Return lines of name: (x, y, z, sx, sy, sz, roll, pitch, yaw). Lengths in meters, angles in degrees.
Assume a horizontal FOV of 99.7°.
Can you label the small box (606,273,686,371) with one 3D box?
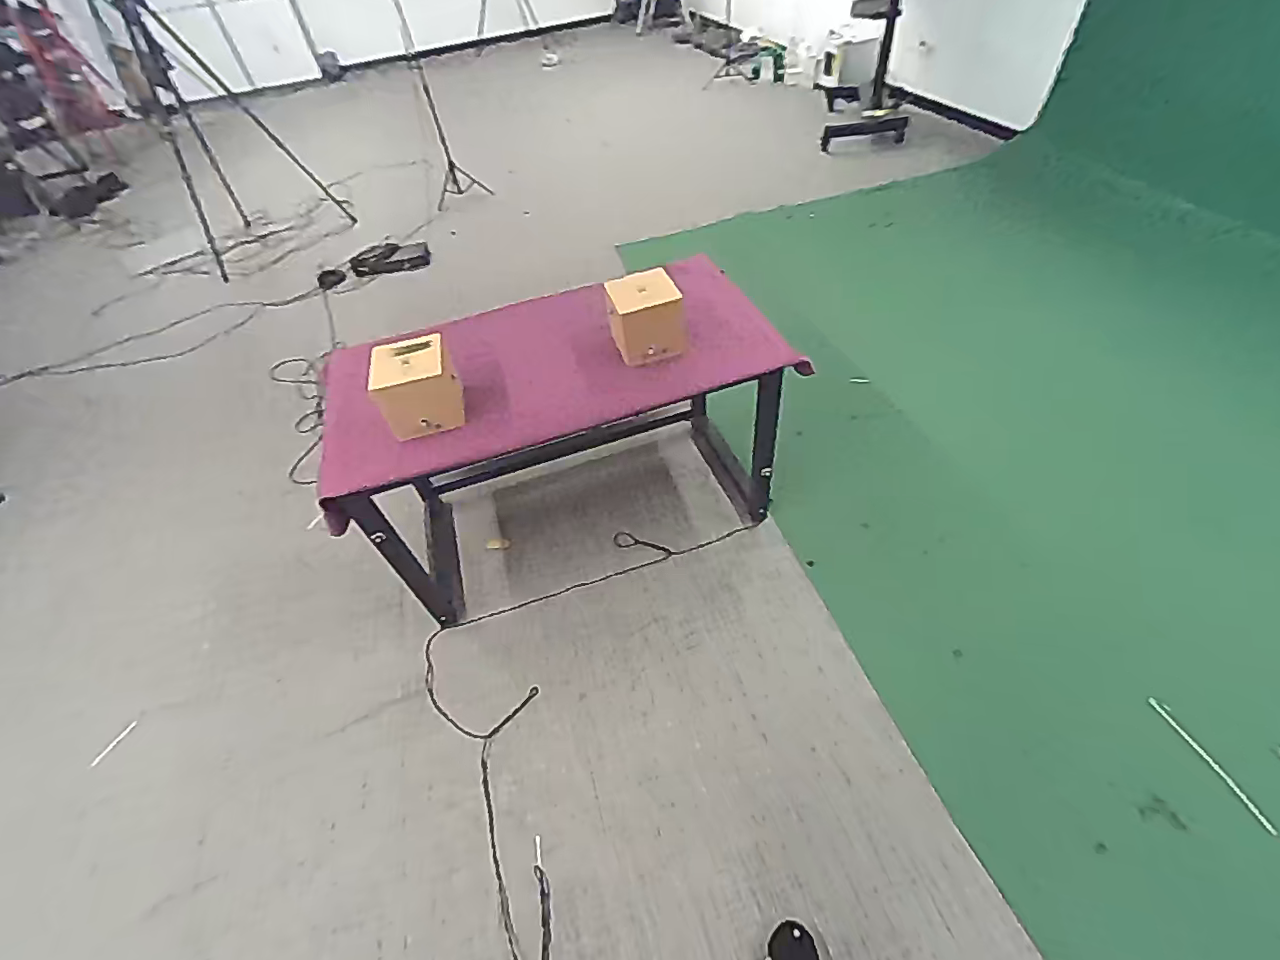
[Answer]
small box: (0.018, -0.418, 1.436, 0.168, 0.176, 0.179, -17, 48, -5)
